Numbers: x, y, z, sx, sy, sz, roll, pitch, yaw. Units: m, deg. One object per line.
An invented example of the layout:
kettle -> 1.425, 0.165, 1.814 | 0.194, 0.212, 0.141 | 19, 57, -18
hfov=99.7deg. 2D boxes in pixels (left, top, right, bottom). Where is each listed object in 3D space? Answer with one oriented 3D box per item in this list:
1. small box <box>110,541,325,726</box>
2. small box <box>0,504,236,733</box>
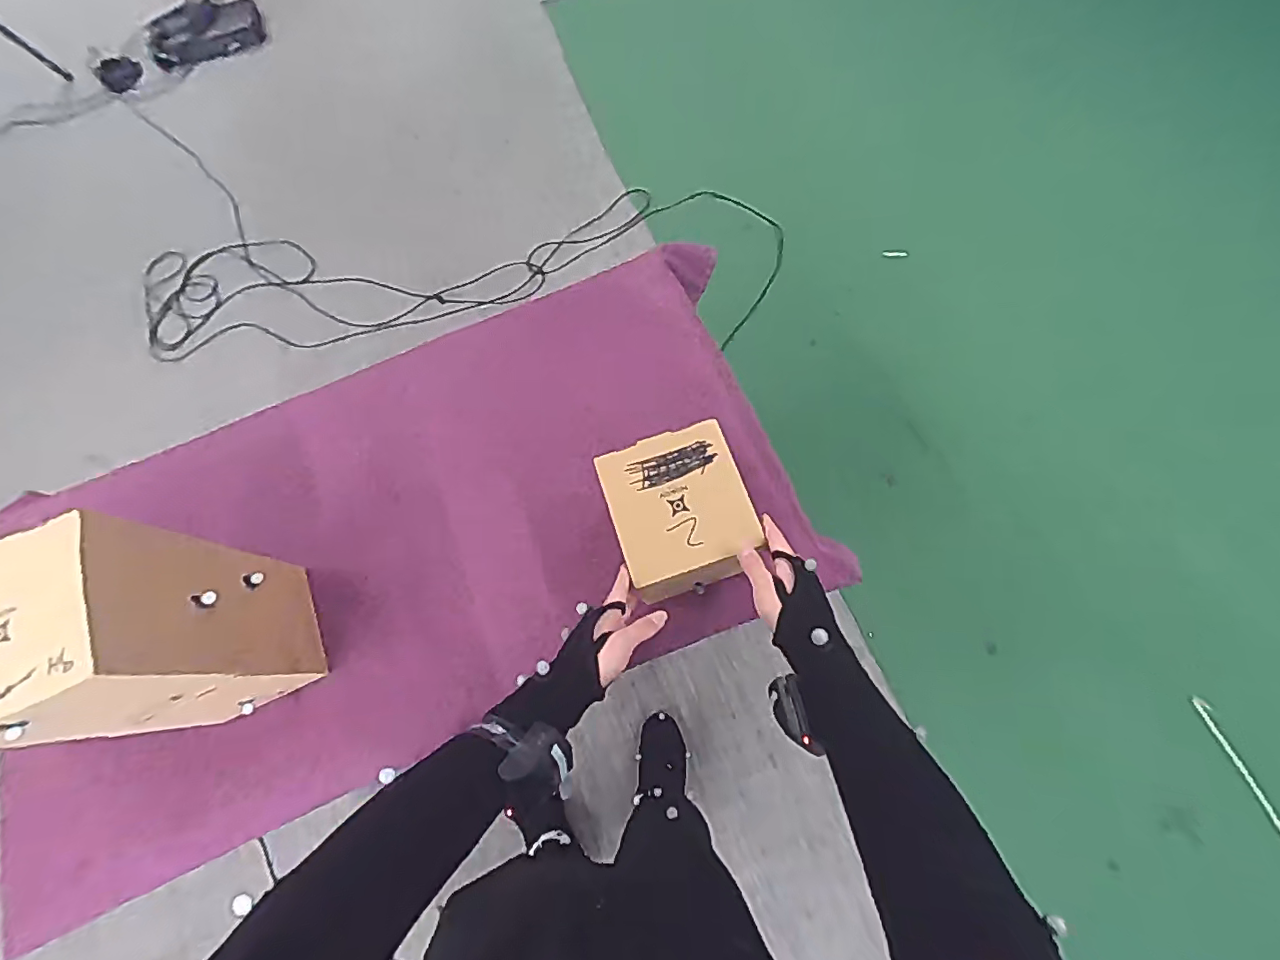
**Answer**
small box -> -0.566, 0.207, 0.732 | 0.168, 0.176, 0.179 | -24, 72, -3
small box -> -0.581, 0.154, 0.577 | 0.168, 0.176, 0.179 | -24, 71, -3
